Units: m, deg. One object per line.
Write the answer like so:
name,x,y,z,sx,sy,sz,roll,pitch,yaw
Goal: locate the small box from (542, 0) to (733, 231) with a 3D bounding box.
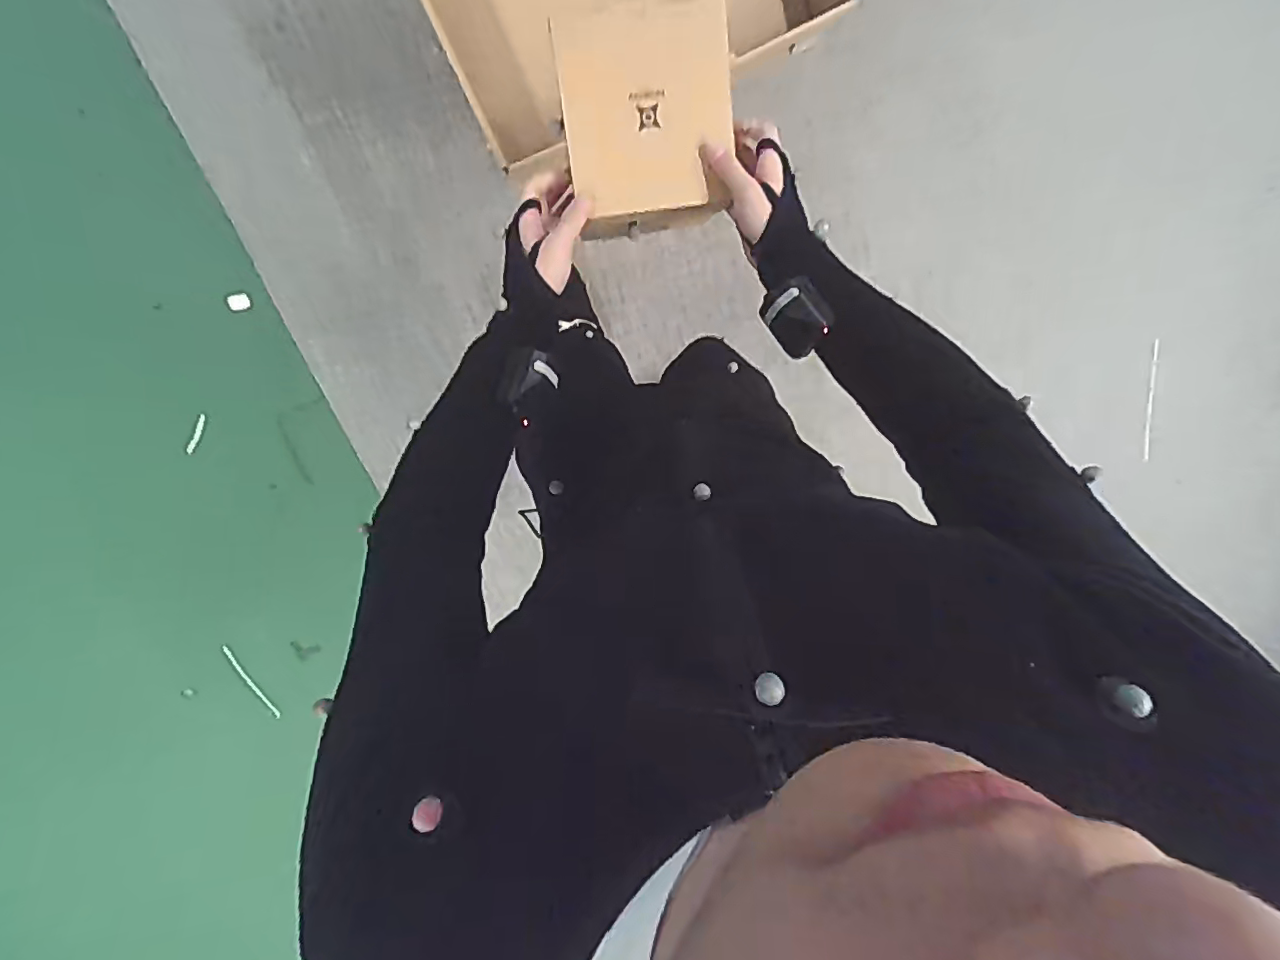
small box,-0.002,-0.376,0.581,0.168,0.176,0.179,-8,106,-2
